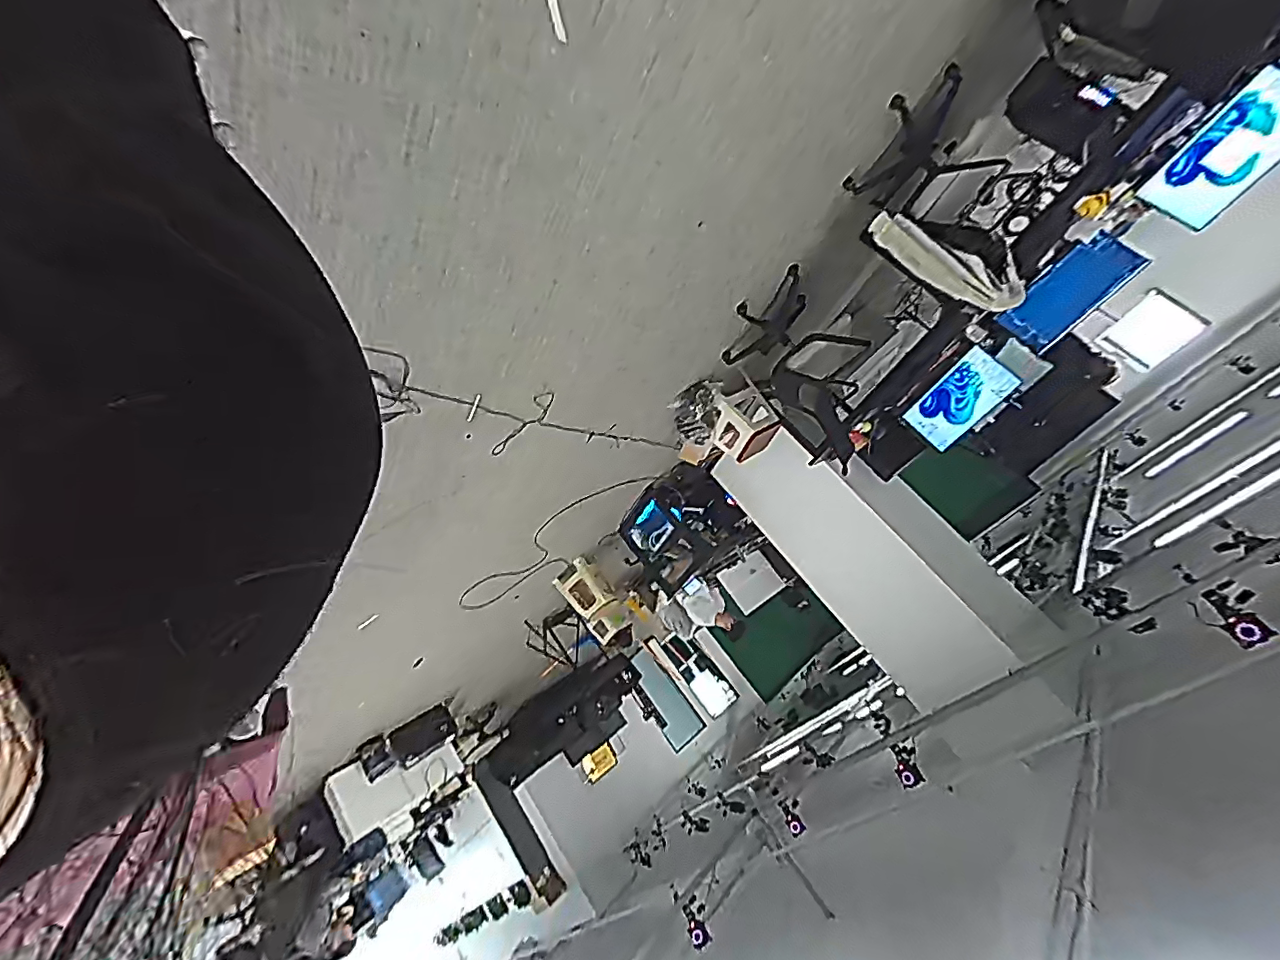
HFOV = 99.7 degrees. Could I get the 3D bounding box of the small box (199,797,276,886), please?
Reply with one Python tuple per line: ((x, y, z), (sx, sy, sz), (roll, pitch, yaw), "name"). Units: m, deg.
((-1.370, 1.220, 1.836), (0.168, 0.176, 0.179), (-14, 146, -51), "small box")
